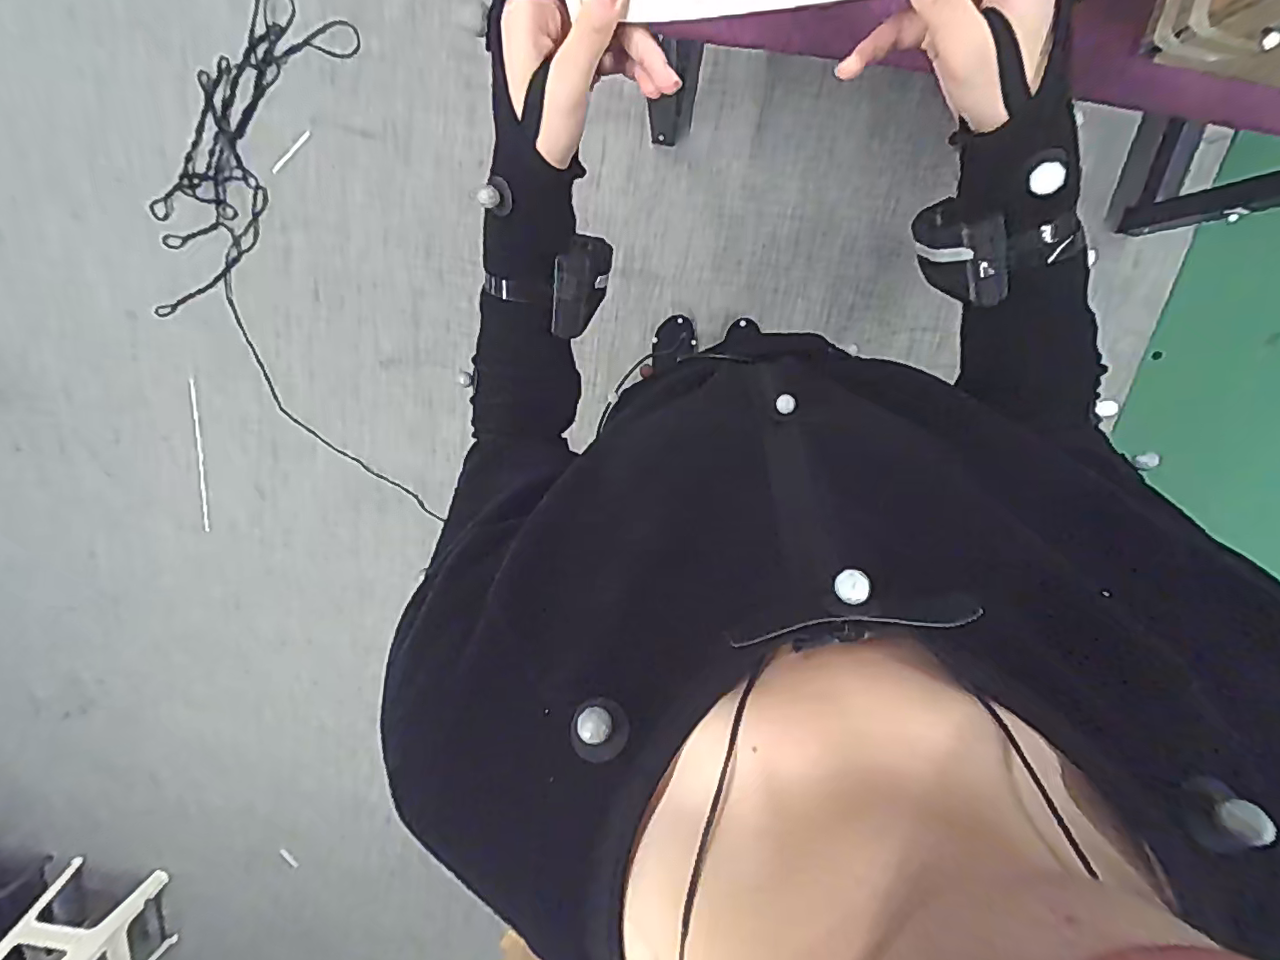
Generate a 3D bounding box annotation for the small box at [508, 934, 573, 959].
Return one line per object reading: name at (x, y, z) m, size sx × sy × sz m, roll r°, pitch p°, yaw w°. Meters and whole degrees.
small box at (-0.305, 1.444, 1.520) m, size 0.168 × 0.176 × 0.179 m, roll 28°, pitch 106°, yaw -4°
